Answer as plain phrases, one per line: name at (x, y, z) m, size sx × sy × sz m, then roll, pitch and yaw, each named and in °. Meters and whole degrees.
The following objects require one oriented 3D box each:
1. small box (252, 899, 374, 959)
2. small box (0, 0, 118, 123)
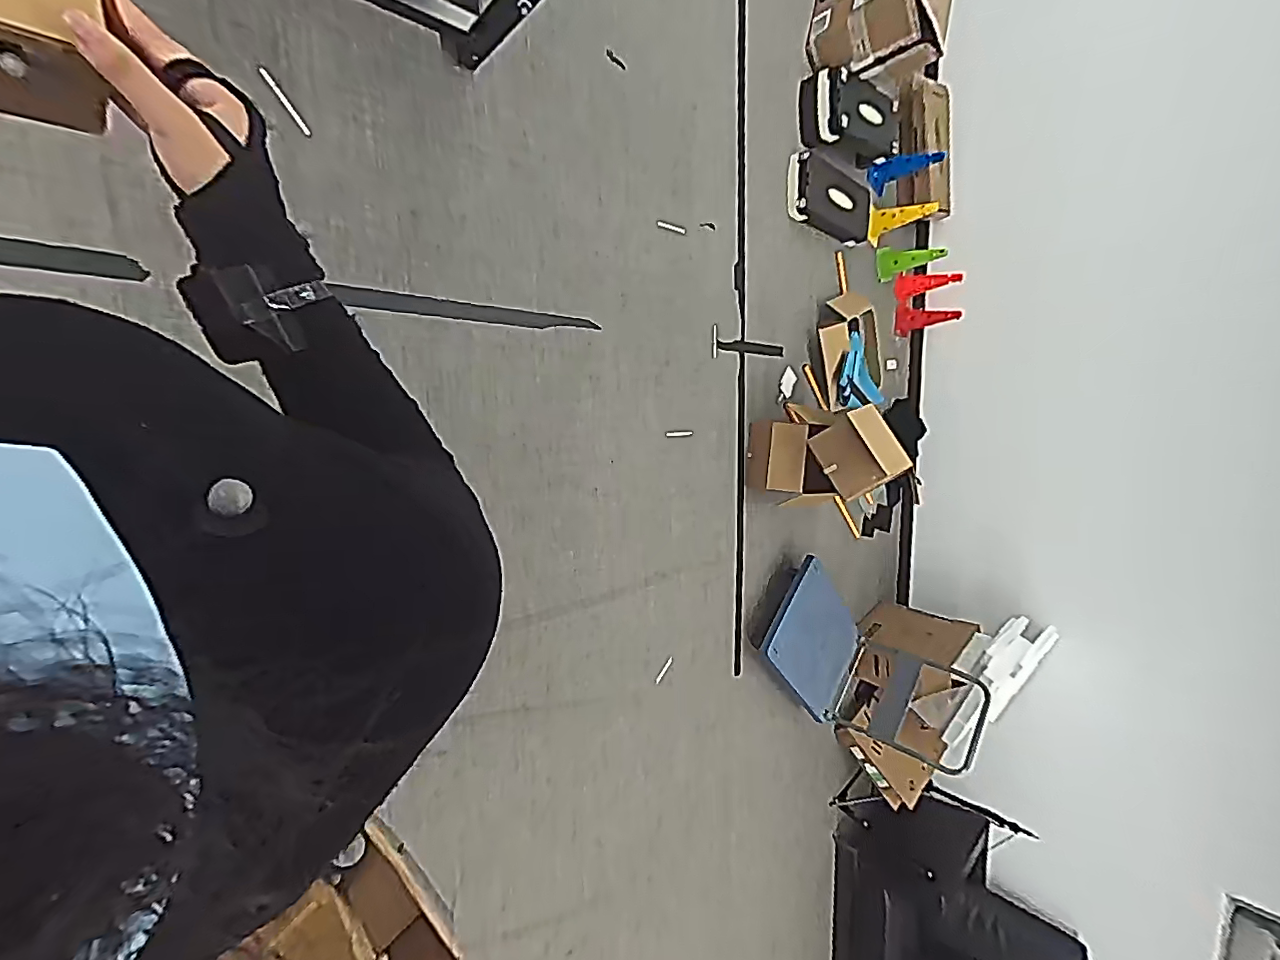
small box at (-0.374, 0.632, 0.594) m, size 0.179 × 0.176 × 0.168 m, roll -30°, pitch 114°, yaw -38°
small box at (-0.415, -0.327, 0.292) m, size 0.179 × 0.176 × 0.168 m, roll -10°, pitch 107°, yaw -45°
